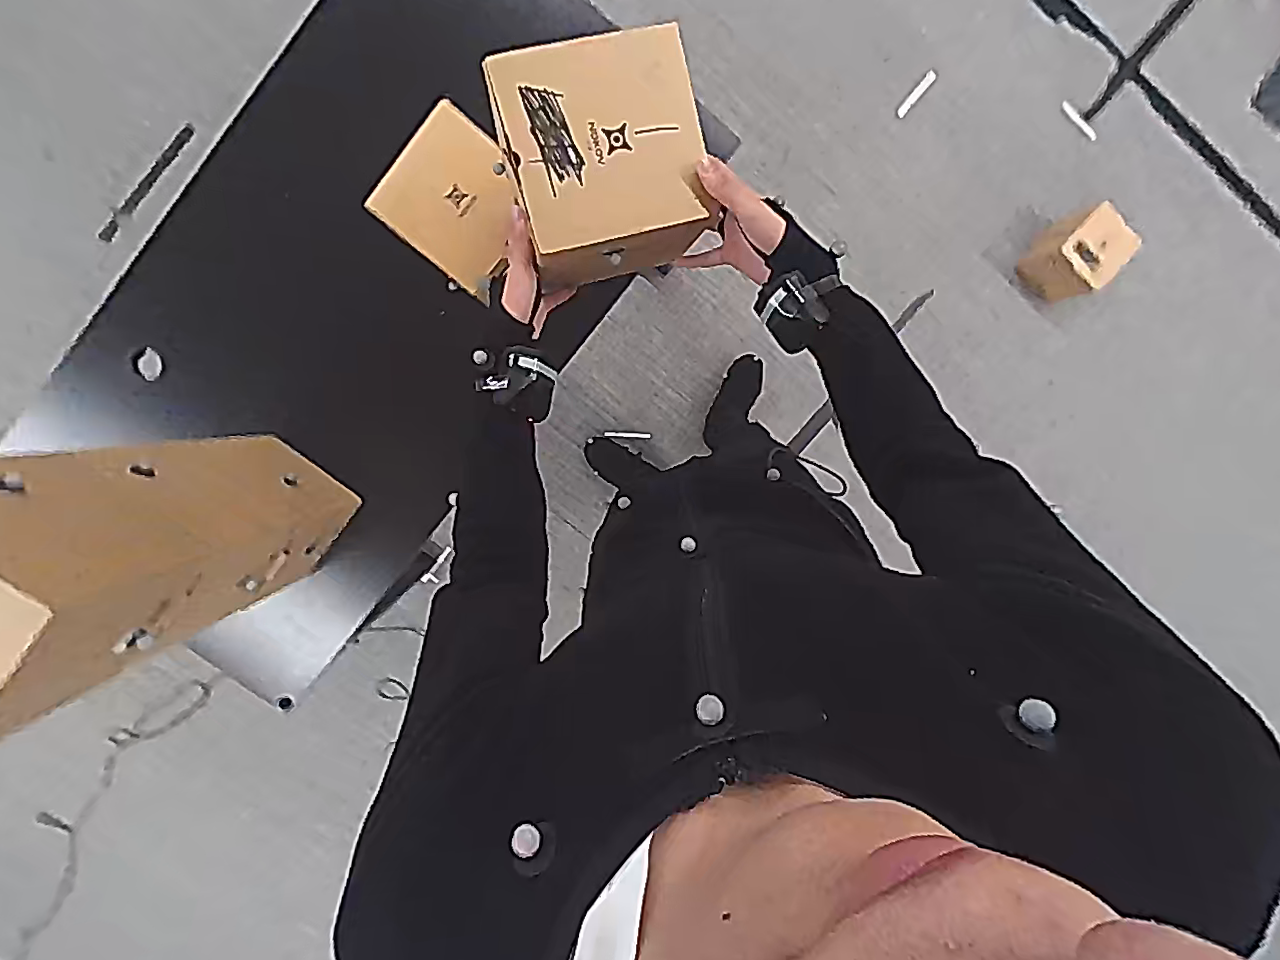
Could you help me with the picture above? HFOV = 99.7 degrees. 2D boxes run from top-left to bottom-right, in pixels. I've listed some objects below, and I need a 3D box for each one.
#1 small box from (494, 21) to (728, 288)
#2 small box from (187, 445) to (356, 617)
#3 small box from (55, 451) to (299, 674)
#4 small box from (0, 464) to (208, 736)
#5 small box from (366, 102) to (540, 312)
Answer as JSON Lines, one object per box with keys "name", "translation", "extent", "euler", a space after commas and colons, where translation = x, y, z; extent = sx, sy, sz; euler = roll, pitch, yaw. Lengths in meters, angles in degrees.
{"name": "small box", "translation": [-0.033, -0.307, 0.547], "extent": [0.179, 0.176, 0.168], "euler": [-16, 101, -8]}
{"name": "small box", "translation": [-0.562, 0.061, 0.791], "extent": [0.179, 0.176, 0.168], "euler": [37, 94, -7]}
{"name": "small box", "translation": [-0.555, 0.080, 0.627], "extent": [0.179, 0.176, 0.168], "euler": [38, 94, -7]}
{"name": "small box", "translation": [-0.545, 0.099, 0.466], "extent": [0.179, 0.176, 0.168], "euler": [37, 95, -7]}
{"name": "small box", "translation": [-0.231, -0.360, 0.756], "extent": [0.179, 0.176, 0.168], "euler": [38, 94, -7]}
